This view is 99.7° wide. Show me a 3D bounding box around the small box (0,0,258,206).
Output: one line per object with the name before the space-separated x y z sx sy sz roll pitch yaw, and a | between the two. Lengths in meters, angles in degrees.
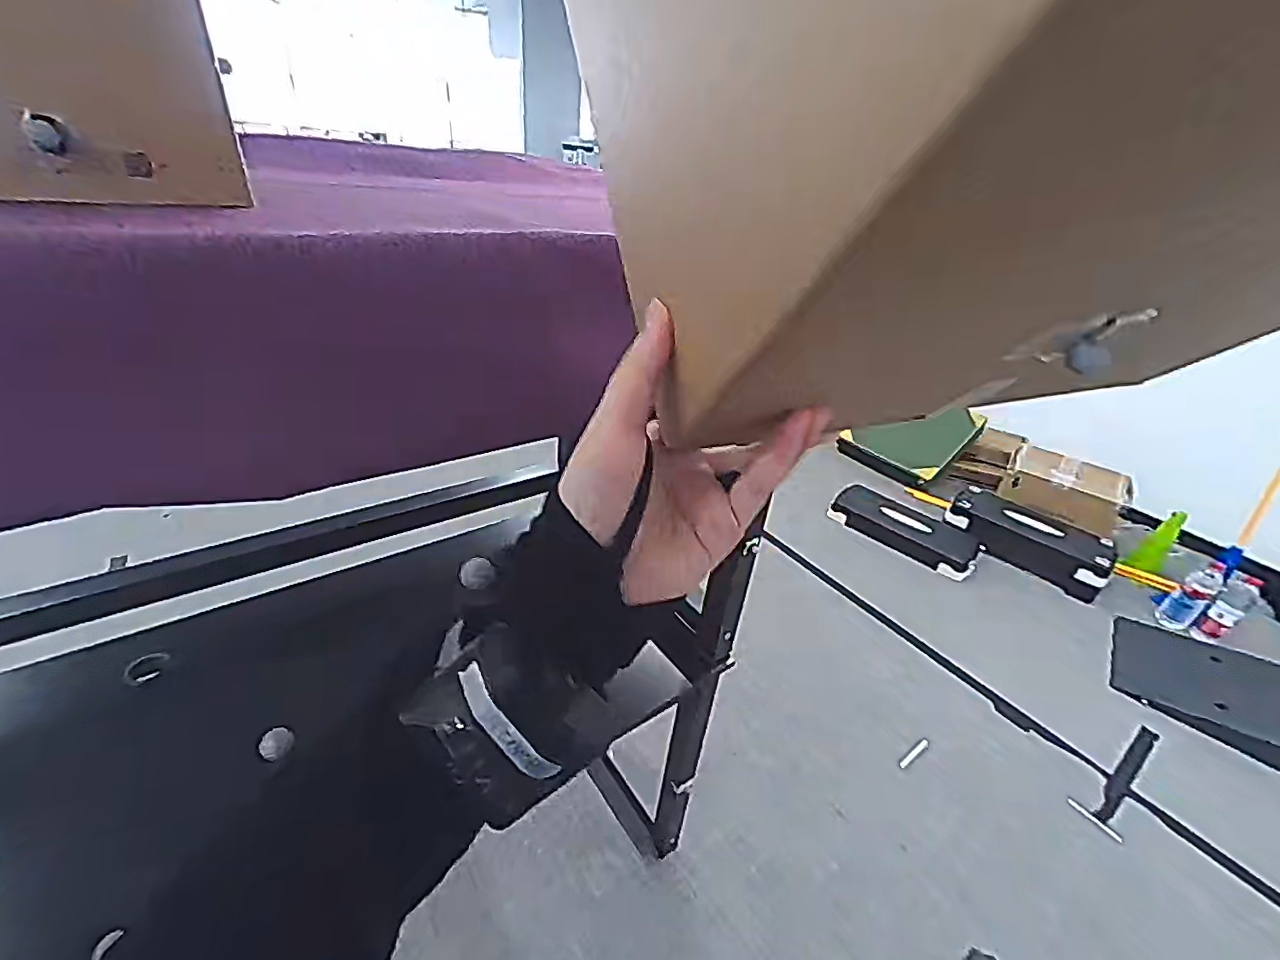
small box | -0.390 -0.299 0.377 0.168 0.176 0.179 -16 39 -31

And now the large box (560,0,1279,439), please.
large box | 0.144 -0.269 0.198 0.320 0.320 0.408 -9 76 -15
